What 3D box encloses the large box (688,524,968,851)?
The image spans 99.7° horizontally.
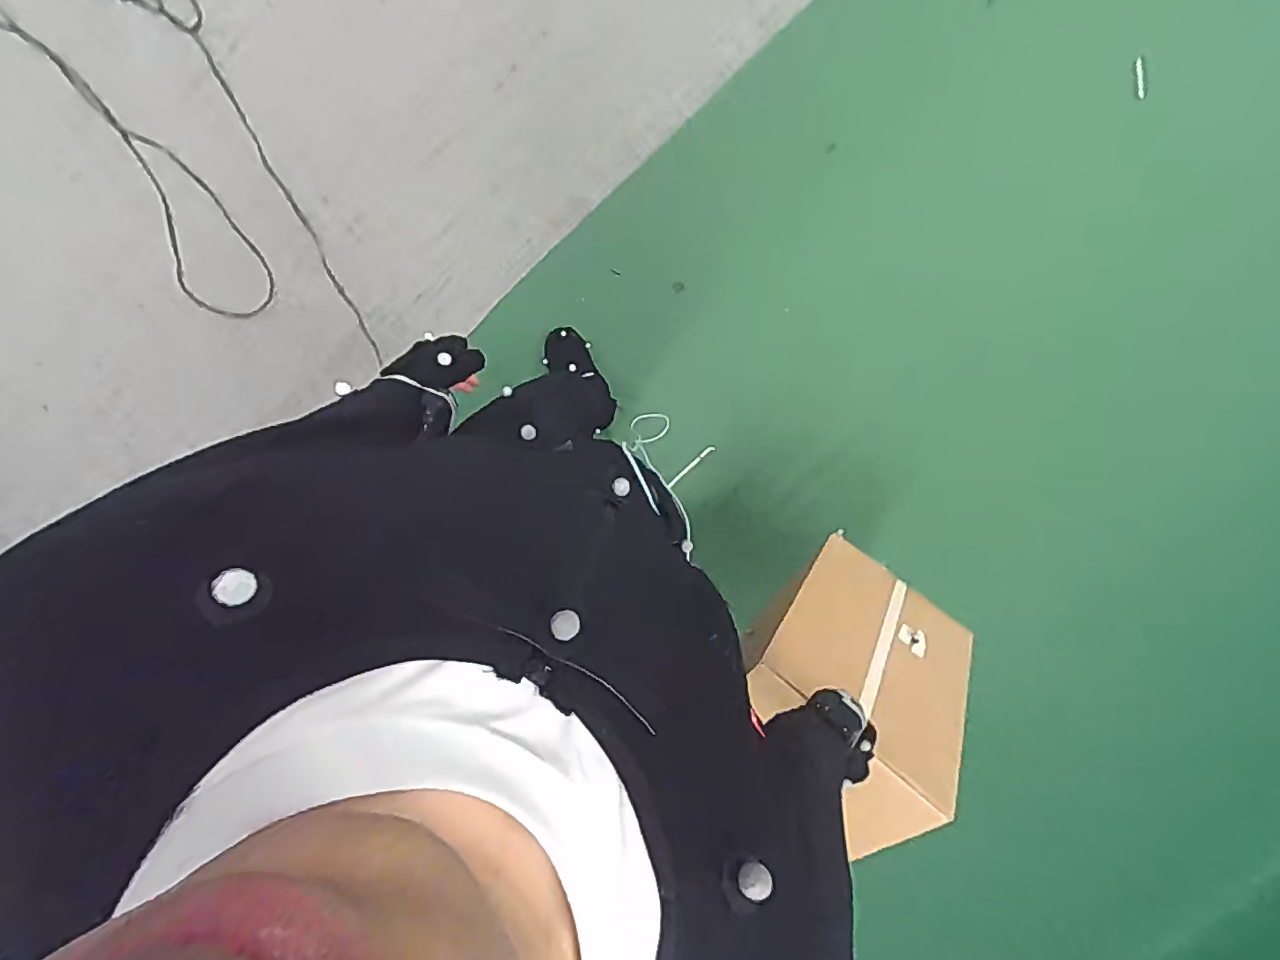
[{"bbox_3d":[0.349,0.361,0.999,0.320,0.408,0.320,38,130,12],"label":"large box"}]
